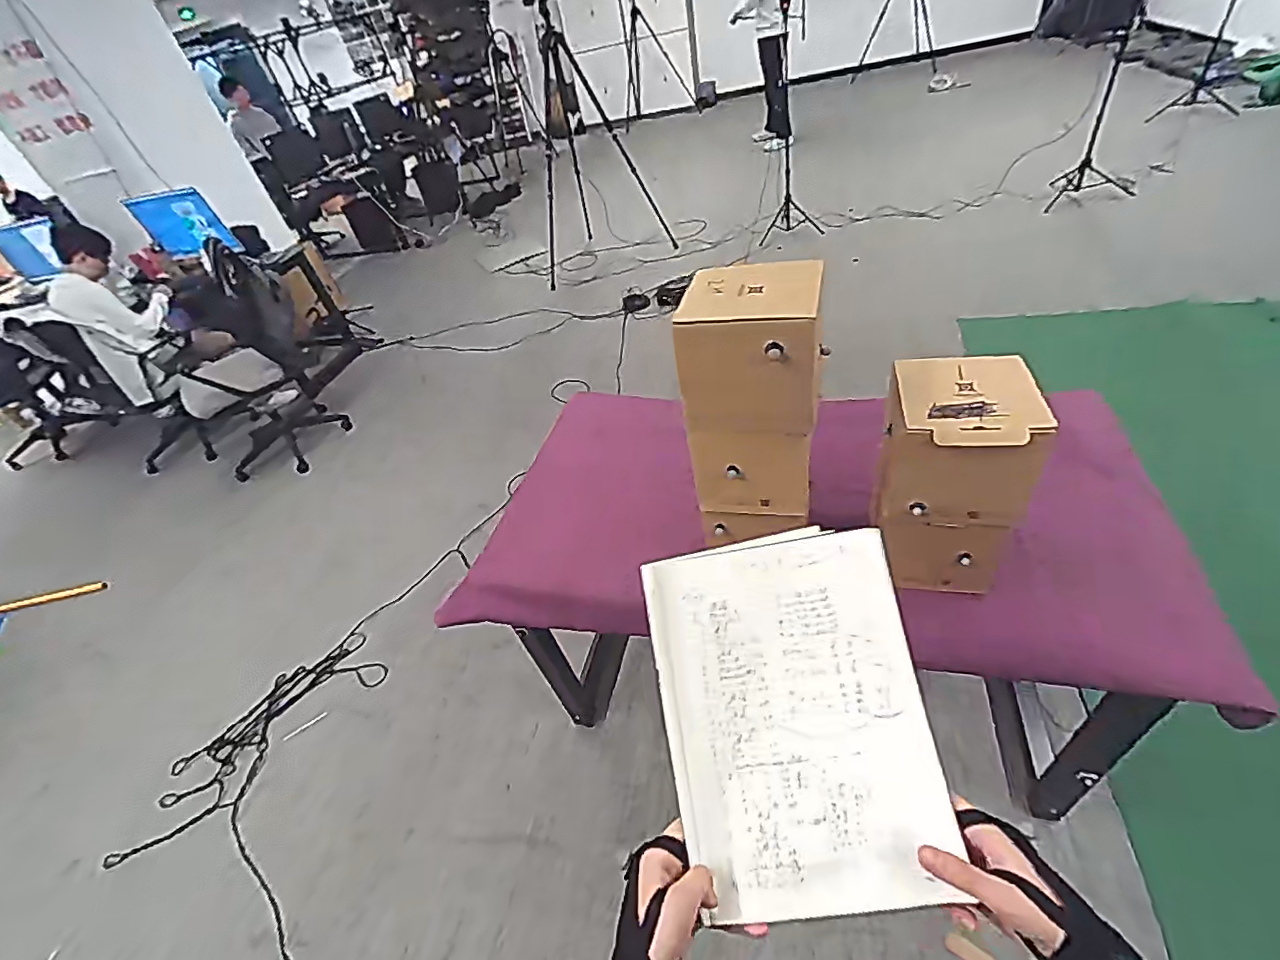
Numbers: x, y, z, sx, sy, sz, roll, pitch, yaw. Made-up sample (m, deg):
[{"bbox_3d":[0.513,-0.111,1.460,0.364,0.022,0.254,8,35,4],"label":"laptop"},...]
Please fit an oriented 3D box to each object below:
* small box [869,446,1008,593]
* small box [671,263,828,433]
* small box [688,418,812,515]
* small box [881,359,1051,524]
[{"bbox_3d":[0.473,0.064,0.883,0.168,0.176,0.179,3,43,18],"label":"small box"},{"bbox_3d":[0.158,-0.178,0.742,0.179,0.176,0.168,4,43,20],"label":"small box"},{"bbox_3d":[0.183,-0.061,0.856,0.168,0.176,0.179,2,43,19],"label":"small box"},{"bbox_3d":[0.446,-0.054,0.772,0.168,0.176,0.179,2,42,17],"label":"small box"}]
